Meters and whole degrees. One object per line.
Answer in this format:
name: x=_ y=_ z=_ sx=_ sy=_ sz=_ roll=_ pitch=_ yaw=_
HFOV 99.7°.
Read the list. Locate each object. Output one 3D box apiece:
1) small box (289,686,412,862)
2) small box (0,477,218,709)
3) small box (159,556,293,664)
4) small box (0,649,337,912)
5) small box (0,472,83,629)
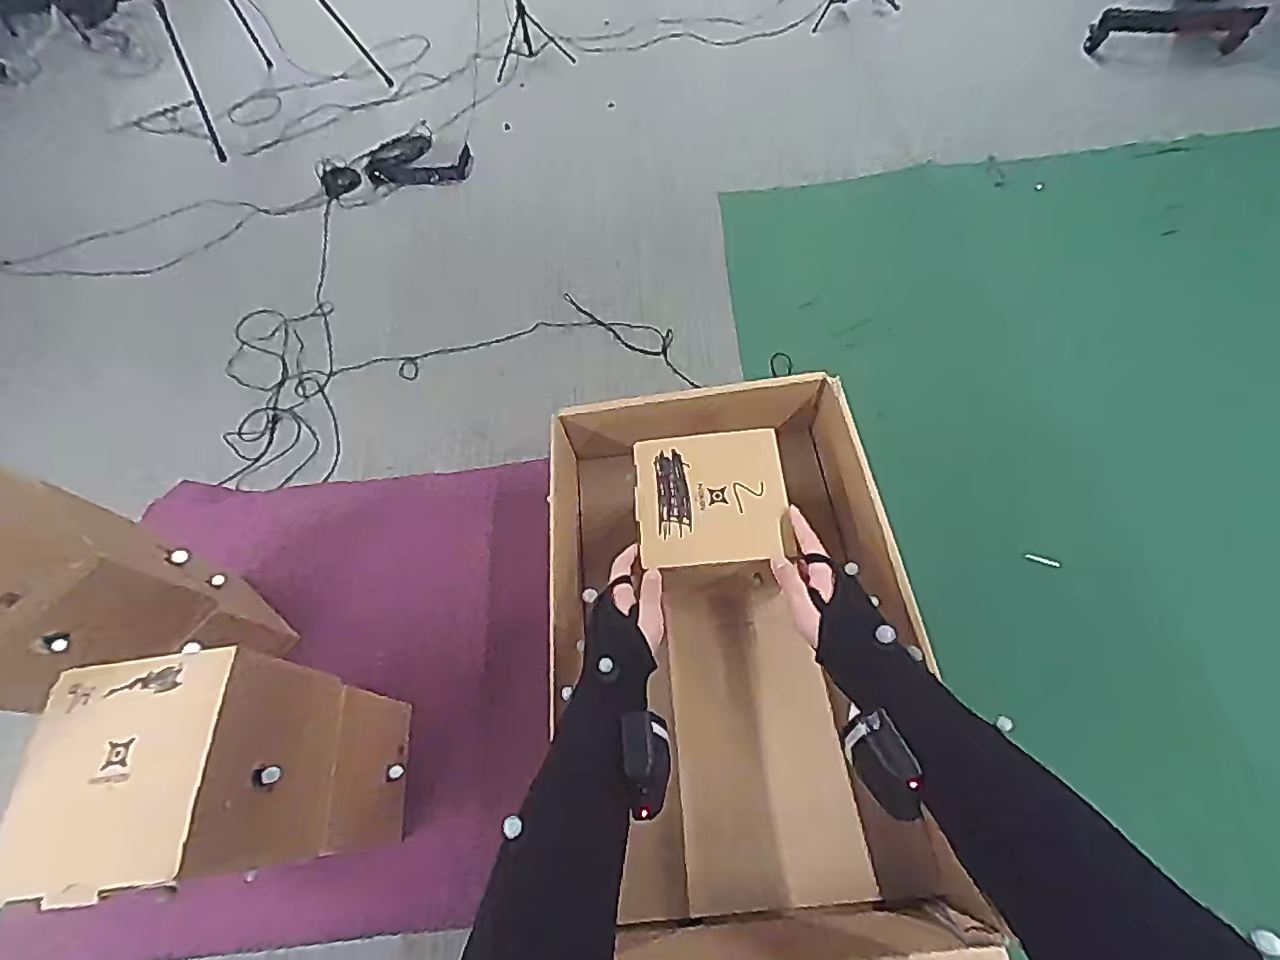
small box: x=-0.401 y=0.357 z=0.647 sx=0.179 sy=0.176 sz=0.168 roll=-9 pitch=60 yaw=0
small box: x=-0.644 y=0.136 z=0.607 sx=0.168 sy=0.176 sz=0.179 roll=33 pitch=69 yaw=19
small box: x=-0.635 y=0.218 z=0.748 sx=0.179 sy=0.176 sz=0.168 roll=32 pitch=68 yaw=20
small box: x=-0.417 y=0.272 z=0.508 sx=0.168 sy=0.176 sz=0.179 roll=-8 pitch=60 yaw=1
small box: x=-0.662 y=0.059 z=0.467 sx=0.179 sy=0.176 sz=0.168 roll=31 pitch=69 yaw=19
